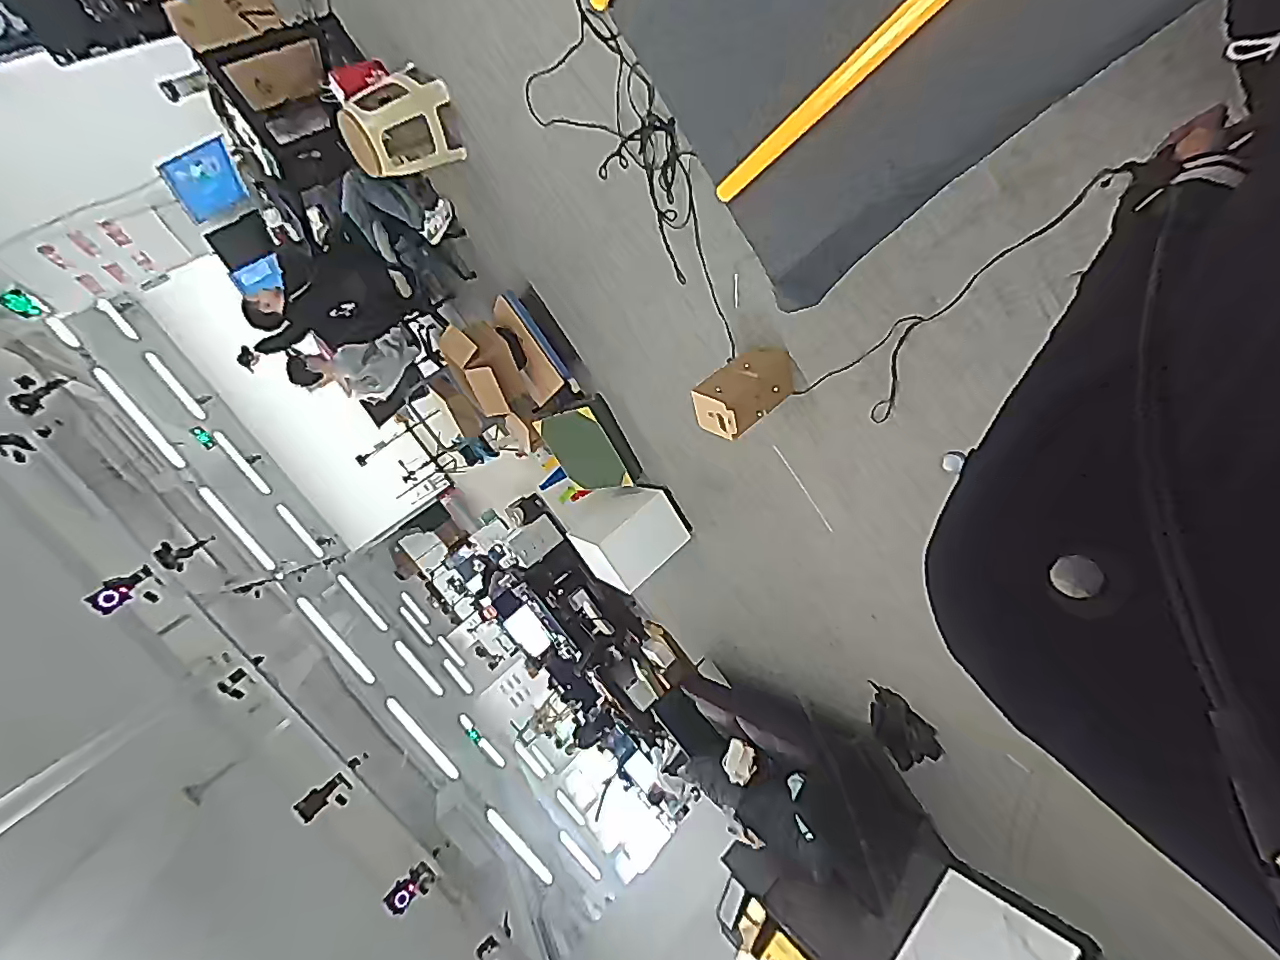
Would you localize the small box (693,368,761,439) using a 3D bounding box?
[{"bbox_3d":[0.321,-0.281,1.946,0.179,0.176,0.168,31,150,44],"label":"small box"}]

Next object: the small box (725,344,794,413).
[{"bbox_3d":[0.446,-0.377,1.996,0.168,0.176,0.179,26,147,48],"label":"small box"}]
